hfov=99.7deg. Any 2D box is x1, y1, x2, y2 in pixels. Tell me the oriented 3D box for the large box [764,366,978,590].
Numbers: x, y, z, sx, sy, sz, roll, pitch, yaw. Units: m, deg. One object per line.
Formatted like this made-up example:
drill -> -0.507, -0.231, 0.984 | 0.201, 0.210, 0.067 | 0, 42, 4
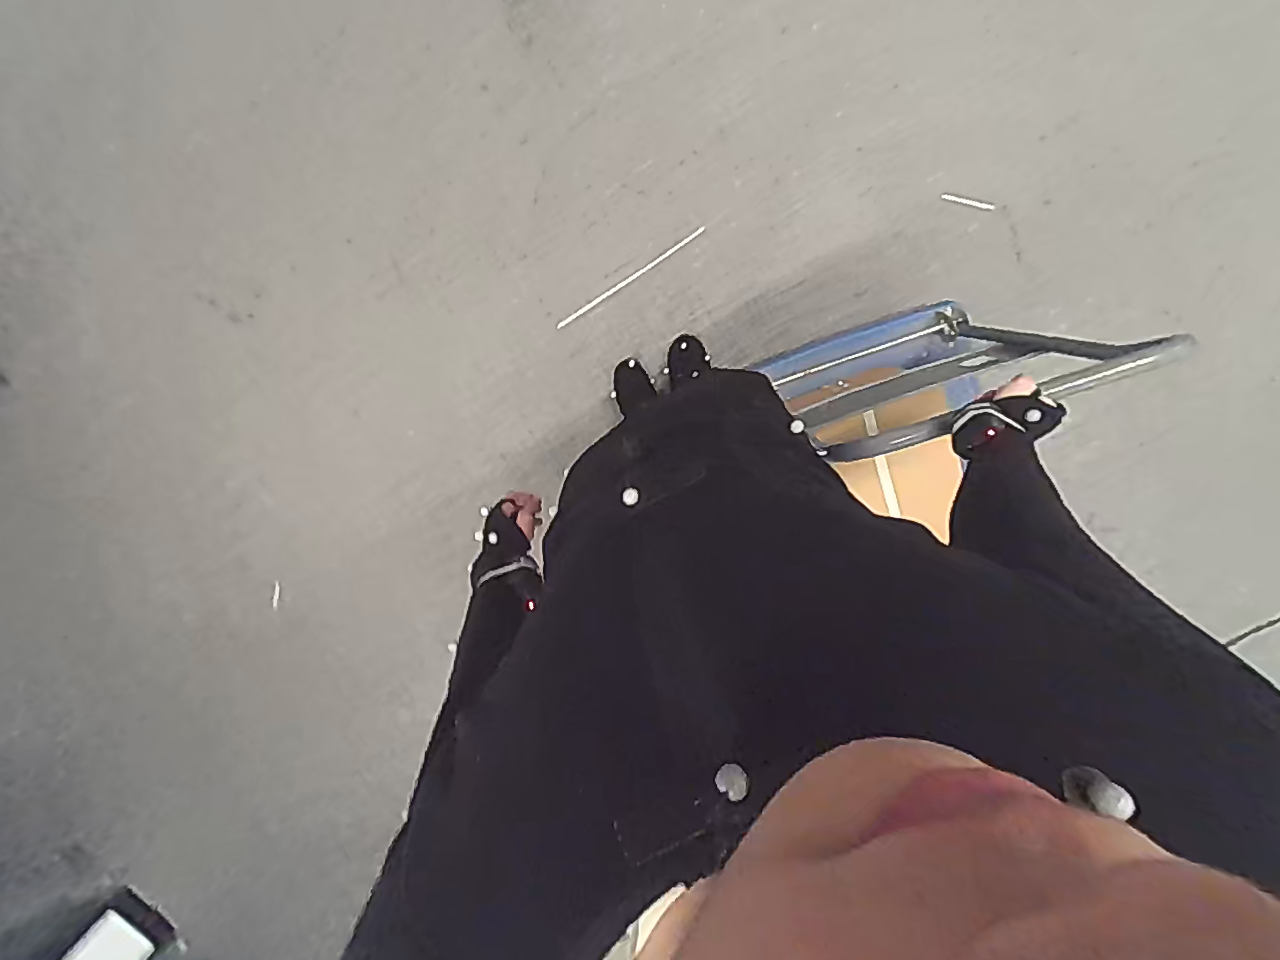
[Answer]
large box -> 0.530, -0.020, 1.295 | 0.320, 0.320, 0.408 | -20, 105, 8
